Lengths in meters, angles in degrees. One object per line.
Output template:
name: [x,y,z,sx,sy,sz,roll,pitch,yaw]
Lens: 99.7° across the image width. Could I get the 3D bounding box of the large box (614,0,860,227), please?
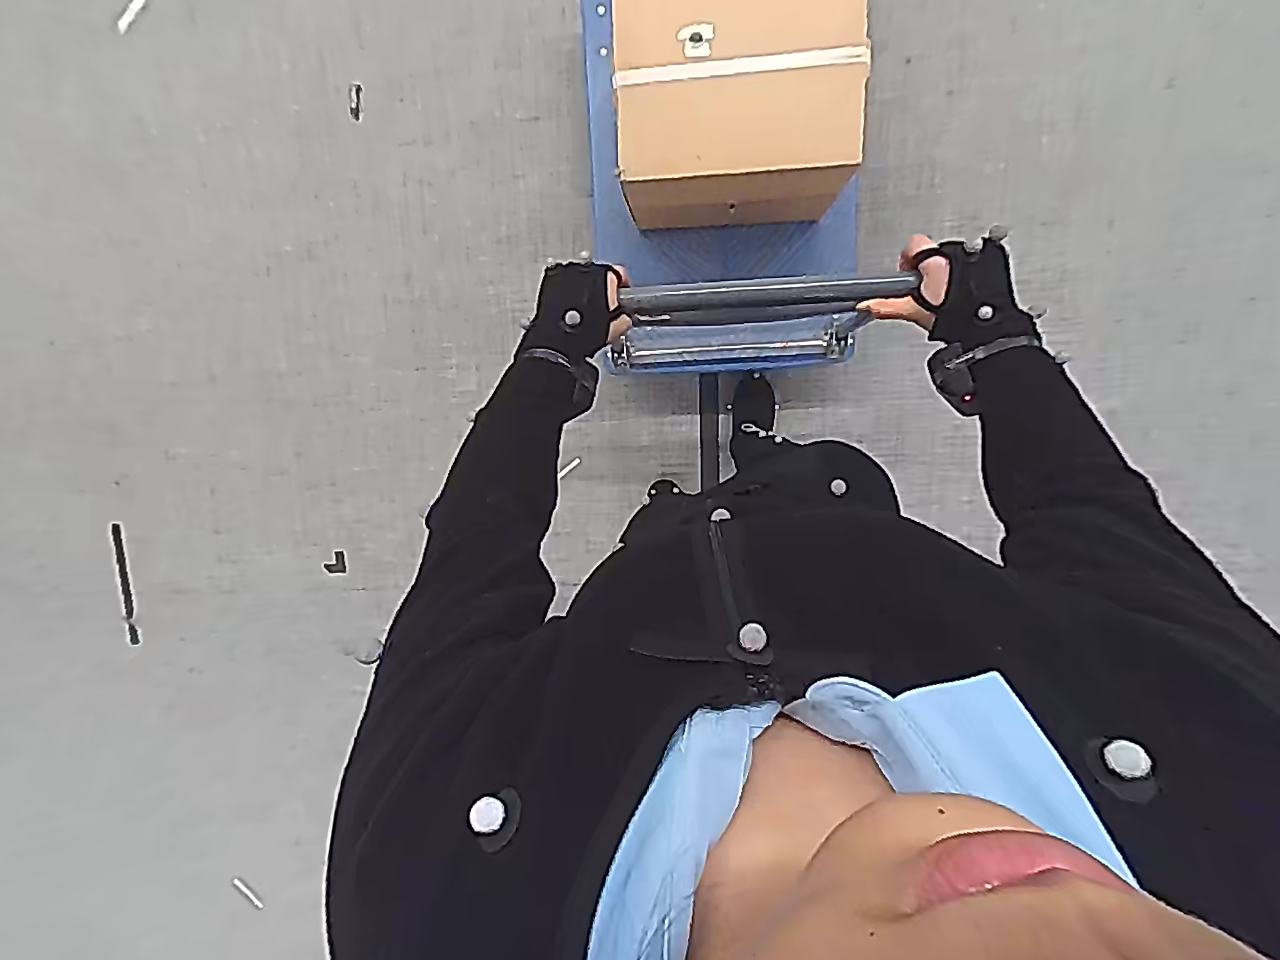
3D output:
large box: [0.179,-0.706,1.046,0.408,0.320,0.320,-1,99,7]
